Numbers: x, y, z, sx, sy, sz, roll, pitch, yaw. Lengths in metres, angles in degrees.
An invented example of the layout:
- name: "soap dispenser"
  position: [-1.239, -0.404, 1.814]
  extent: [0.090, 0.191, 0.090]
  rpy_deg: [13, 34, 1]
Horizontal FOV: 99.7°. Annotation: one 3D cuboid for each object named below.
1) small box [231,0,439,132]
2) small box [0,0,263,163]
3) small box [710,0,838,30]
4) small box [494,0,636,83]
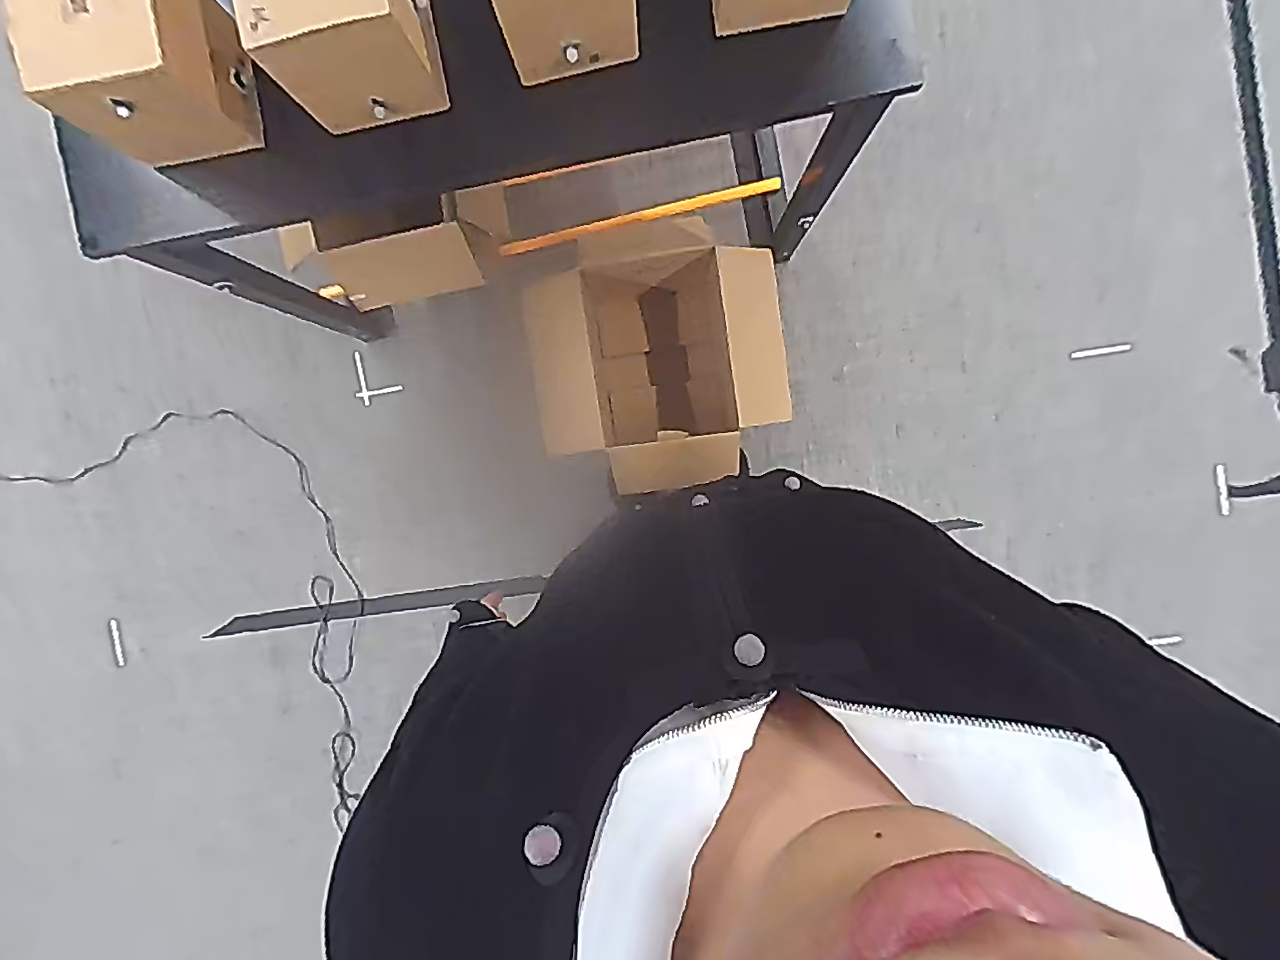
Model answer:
- name: "small box"
  position: [-0.366, -0.571, 0.665]
  extent: [0.179, 0.176, 0.168]
  rpy_deg: [-11, 92, 2]
- name: "small box"
  position: [-0.626, -0.528, 0.677]
  extent: [0.179, 0.176, 0.168]
  rpy_deg: [-9, 94, 2]
- name: "small box"
  position: [0.173, -0.684, 0.636]
  extent: [0.179, 0.176, 0.168]
  rpy_deg: [-7, 92, 3]
- name: "small box"
  position: [-0.102, -0.635, 0.651]
  extent: [0.168, 0.176, 0.179]
  rpy_deg: [-12, 93, 3]
